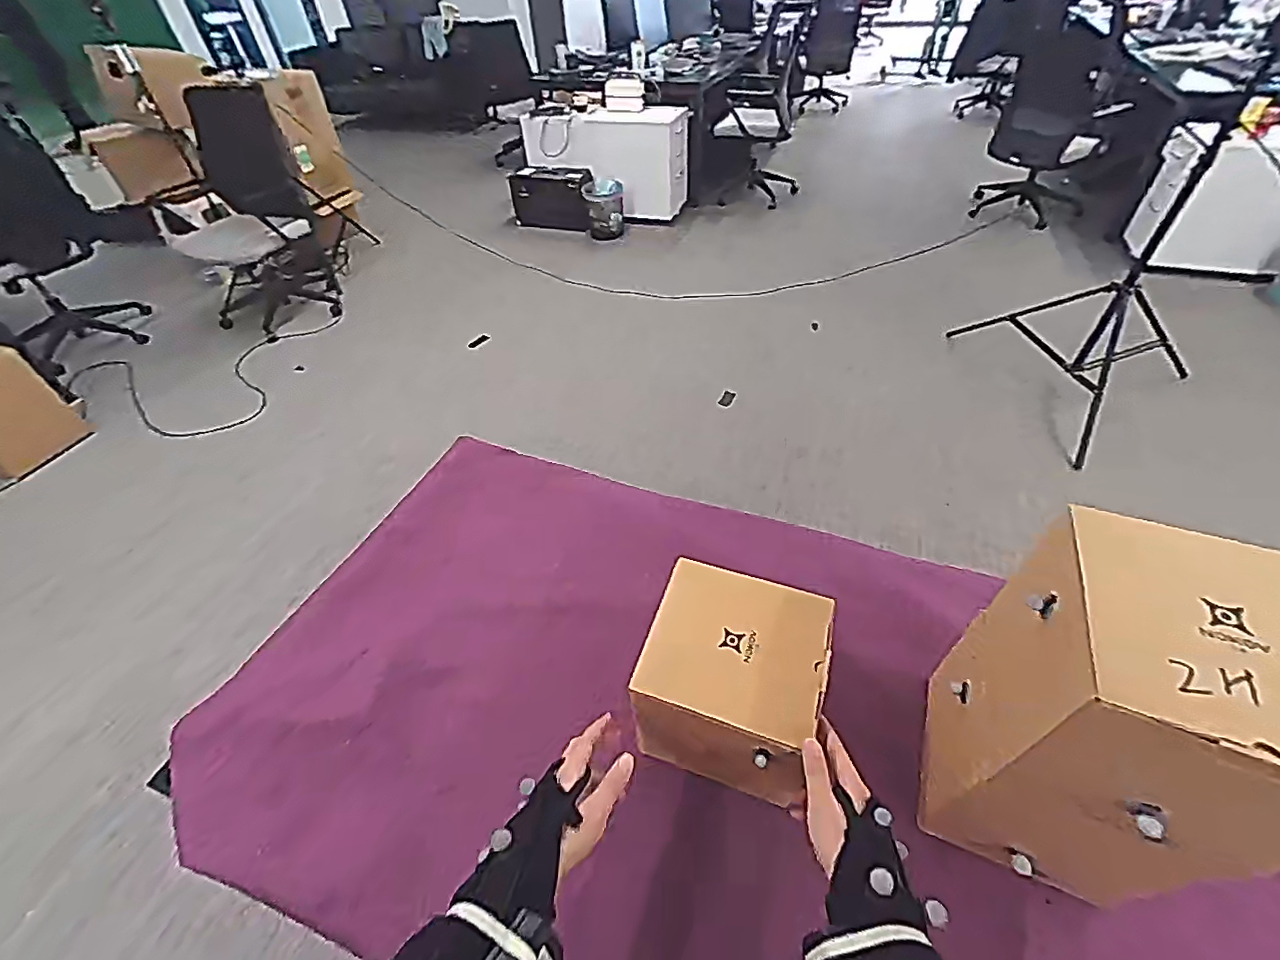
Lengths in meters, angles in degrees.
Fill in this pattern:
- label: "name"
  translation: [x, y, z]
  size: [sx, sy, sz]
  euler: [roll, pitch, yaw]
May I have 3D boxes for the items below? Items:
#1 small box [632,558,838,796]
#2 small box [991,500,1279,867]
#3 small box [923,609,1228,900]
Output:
- label: "small box"
  translation: [0.103, 0.218, 0.599]
  size: [0.179, 0.176, 0.168]
  euler: [14, 47, 16]
- label: "small box"
  translation: [0.390, 0.150, 0.412]
  size: [0.168, 0.176, 0.179]
  euler: [15, 48, 19]
- label: "small box"
  translation: [0.395, 0.265, 0.530]
  size: [0.168, 0.176, 0.179]
  euler: [16, 49, 19]
